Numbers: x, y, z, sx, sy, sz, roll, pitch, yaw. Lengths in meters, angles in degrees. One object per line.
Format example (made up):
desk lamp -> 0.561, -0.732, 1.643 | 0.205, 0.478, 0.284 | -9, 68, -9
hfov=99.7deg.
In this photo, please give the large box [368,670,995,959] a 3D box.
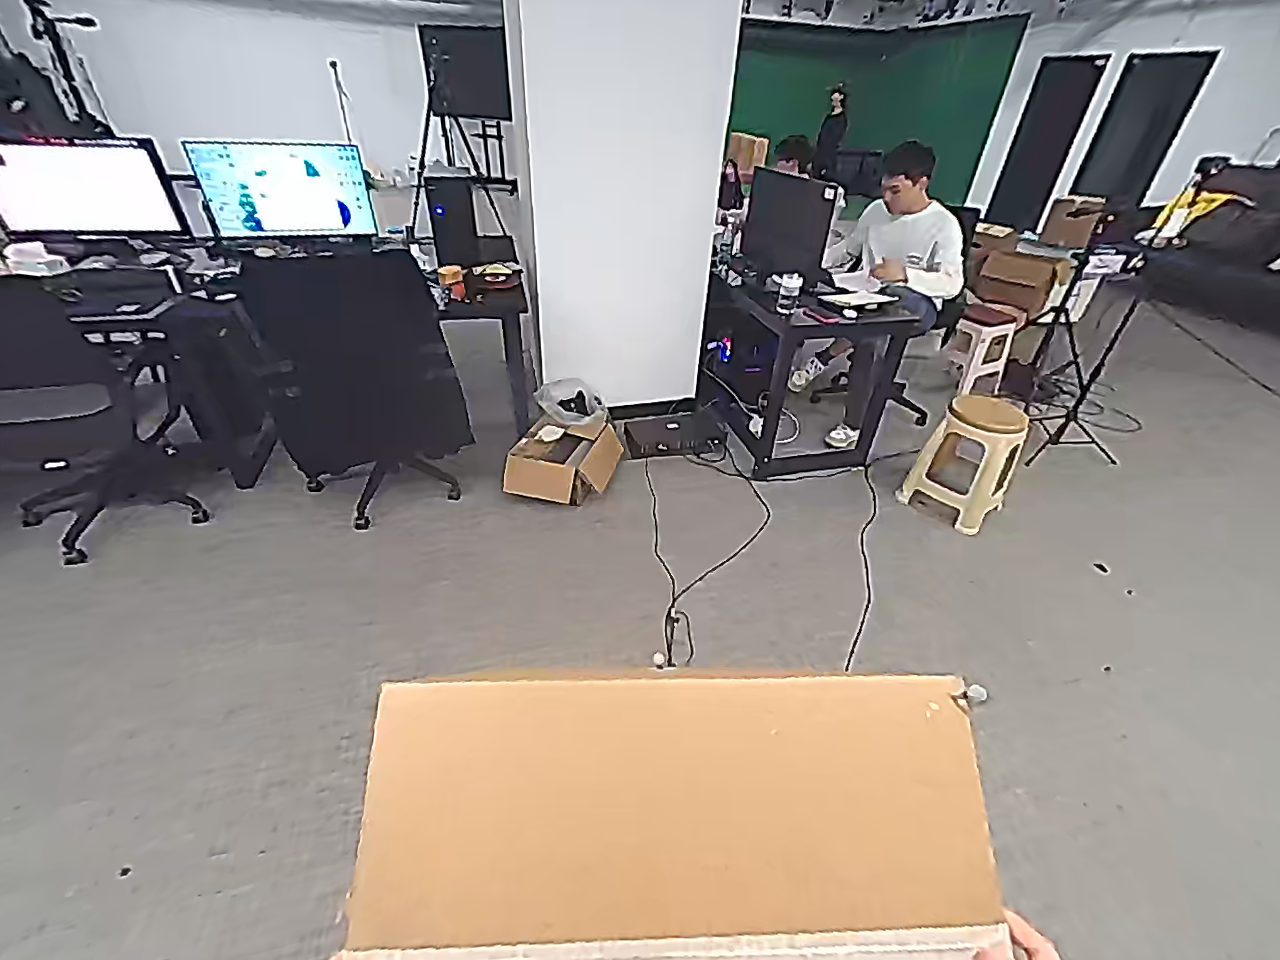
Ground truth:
large box -> 0.020, 0.341, 0.481 | 0.408, 0.320, 0.320 | 0, 73, -4
